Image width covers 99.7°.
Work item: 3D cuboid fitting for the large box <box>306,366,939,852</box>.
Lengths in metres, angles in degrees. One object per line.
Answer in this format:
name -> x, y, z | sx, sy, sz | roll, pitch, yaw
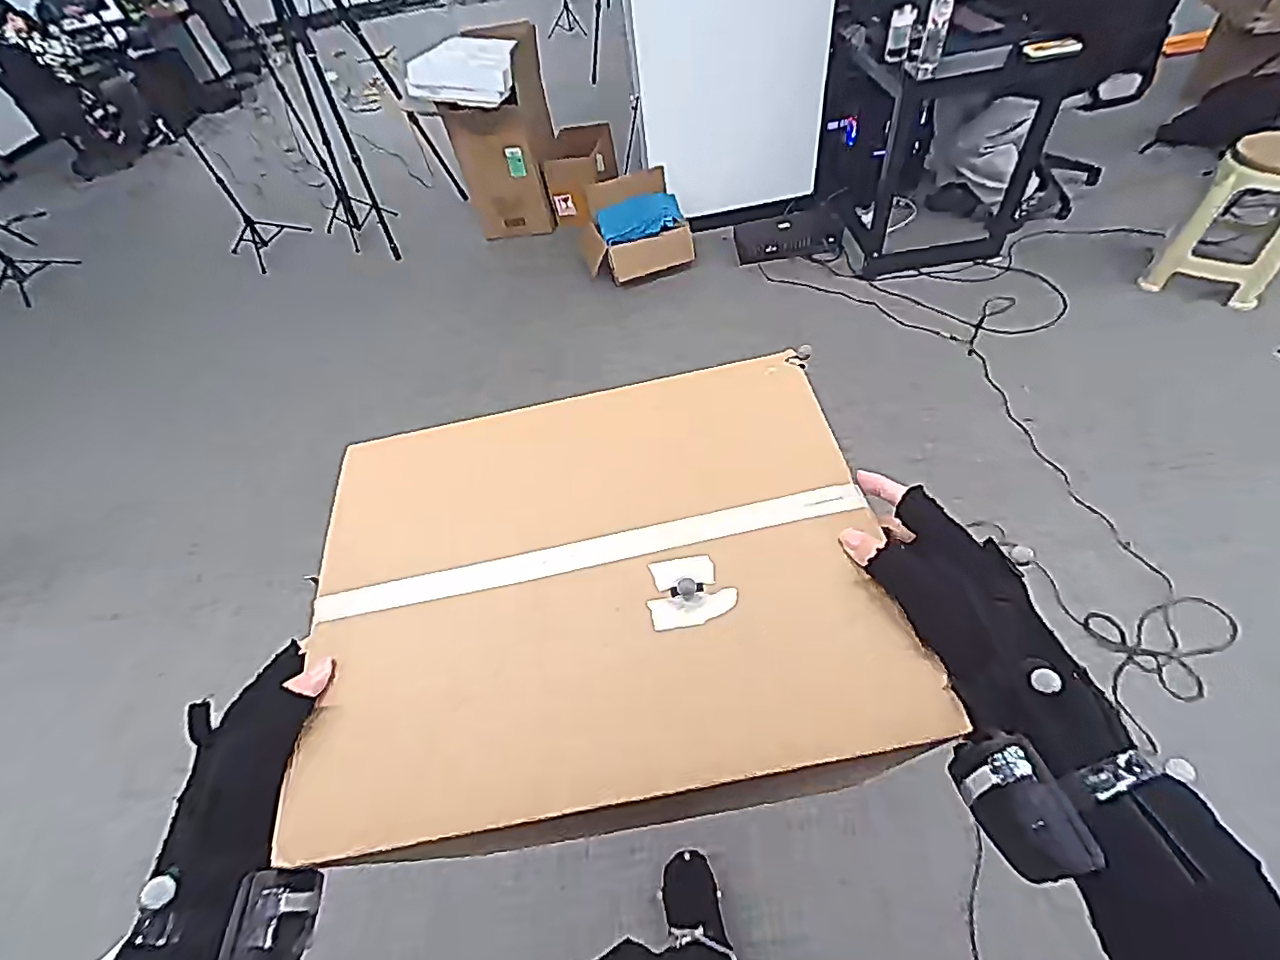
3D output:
large box -> -0.018, 0.142, 0.531 | 0.408, 0.320, 0.320 | -12, 56, 1
